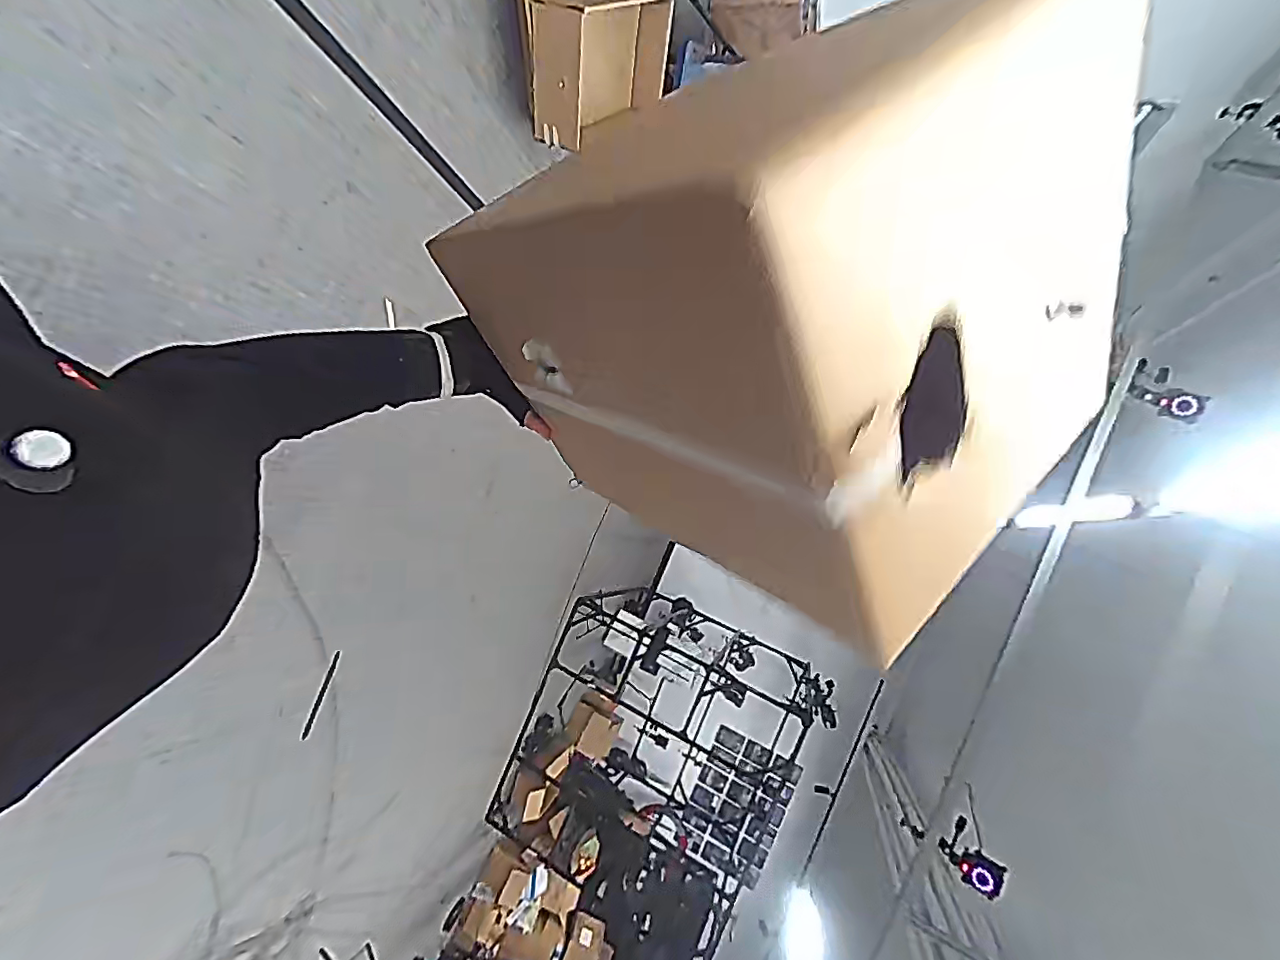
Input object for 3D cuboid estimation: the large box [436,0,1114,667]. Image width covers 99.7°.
[{"bbox_3d":[0.086,-0.134,0.467,0.320,0.408,0.320,-38,126,-15],"label":"large box"}]
